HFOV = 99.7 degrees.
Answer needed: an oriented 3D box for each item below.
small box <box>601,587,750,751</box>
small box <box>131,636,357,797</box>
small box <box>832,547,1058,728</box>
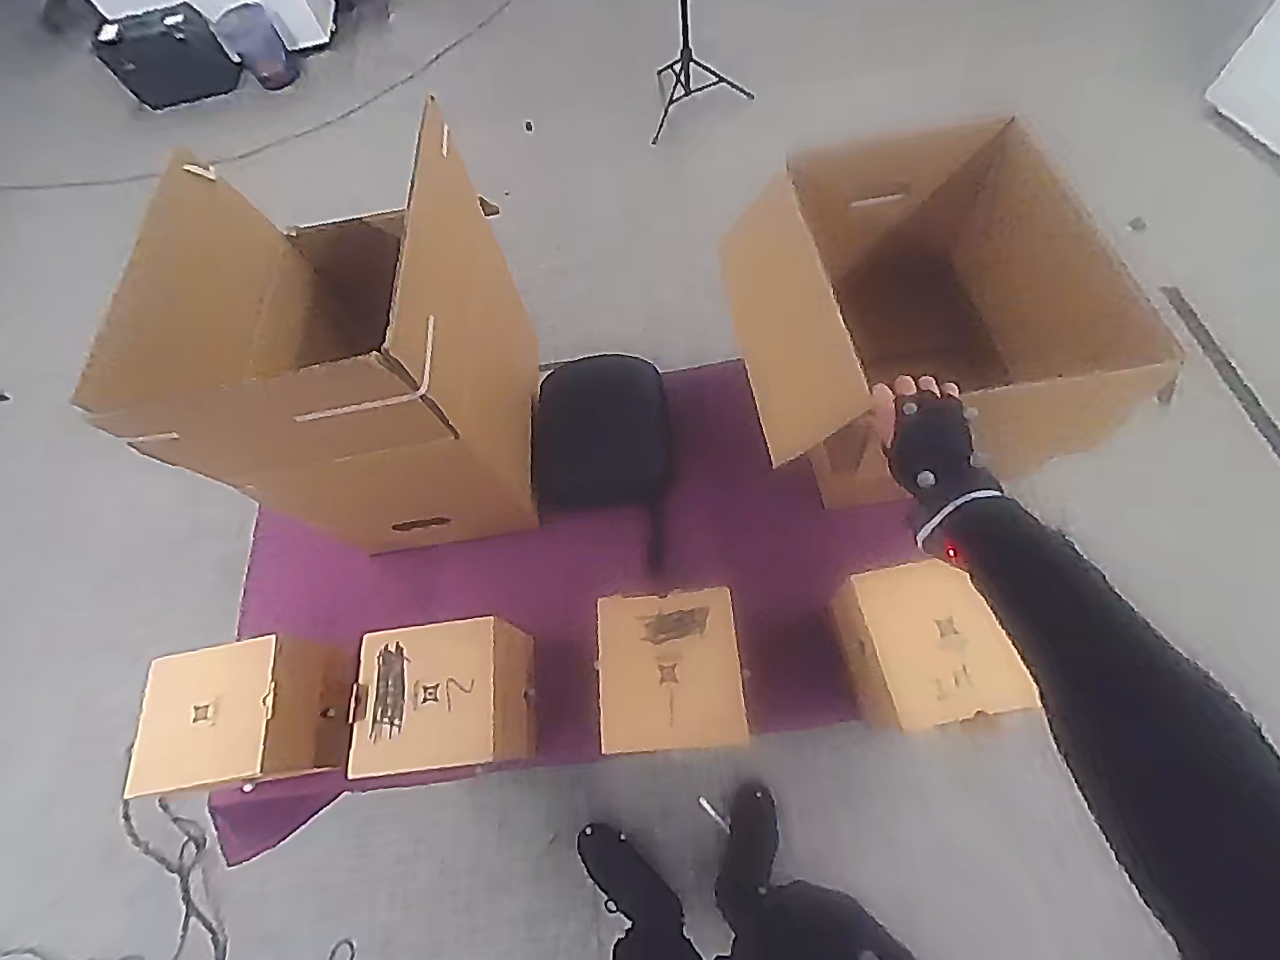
[{"bbox_3d":[0.045,0.249,0.701,0.168,0.176,0.179,-7,66,6],"label":"small box"},{"bbox_3d":[-0.528,0.327,0.750,0.179,0.176,0.168,-12,65,1],"label":"small box"},{"bbox_3d":[0.354,0.203,0.674,0.168,0.176,0.179,-12,65,4],"label":"small box"}]
